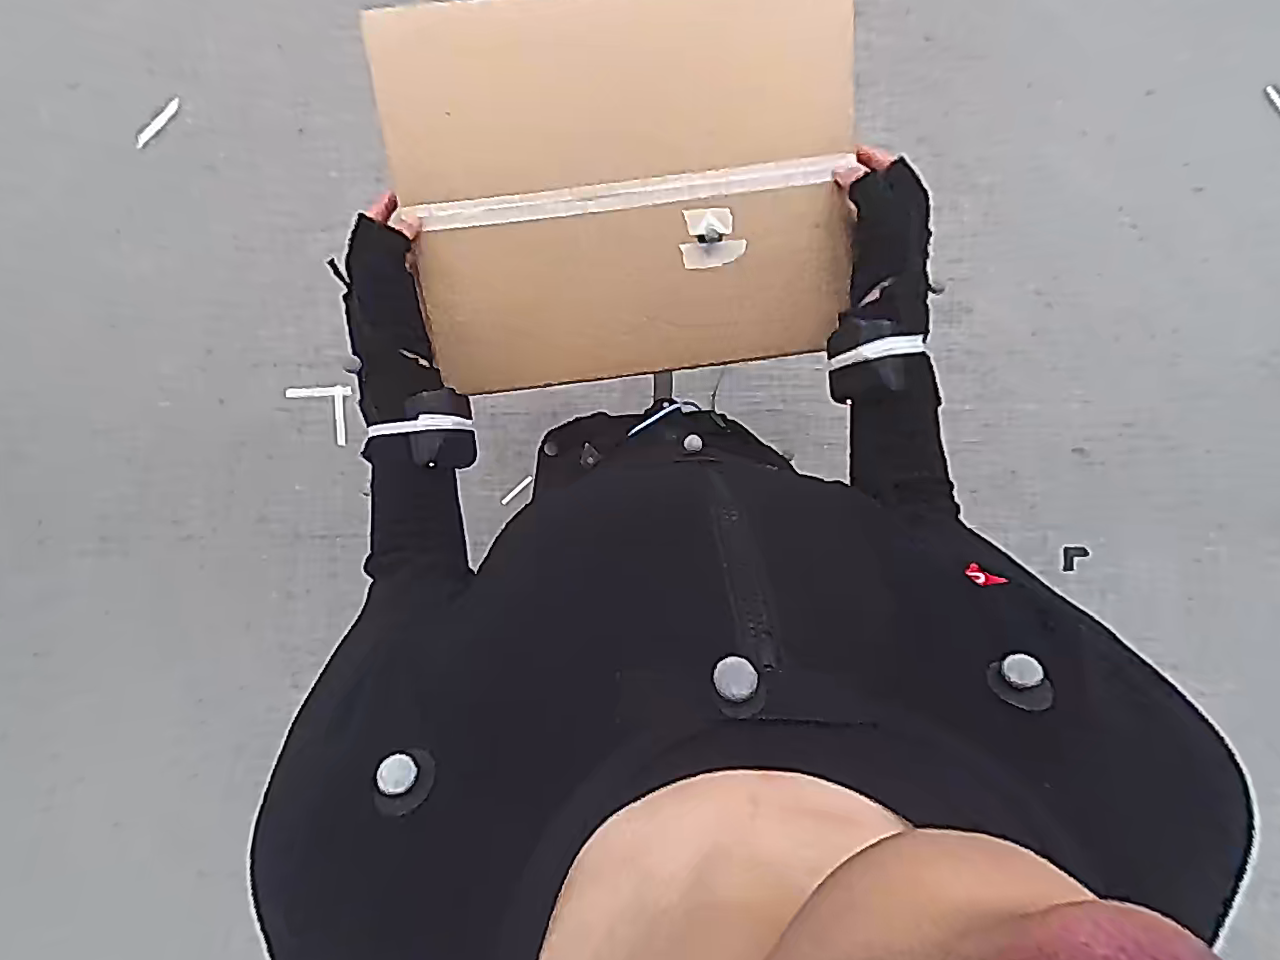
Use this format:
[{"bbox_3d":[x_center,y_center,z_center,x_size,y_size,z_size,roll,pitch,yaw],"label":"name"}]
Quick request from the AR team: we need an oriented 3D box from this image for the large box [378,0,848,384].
[{"bbox_3d":[-0.018,-0.303,0.638,0.408,0.320,0.320,-7,106,-2],"label":"large box"}]
